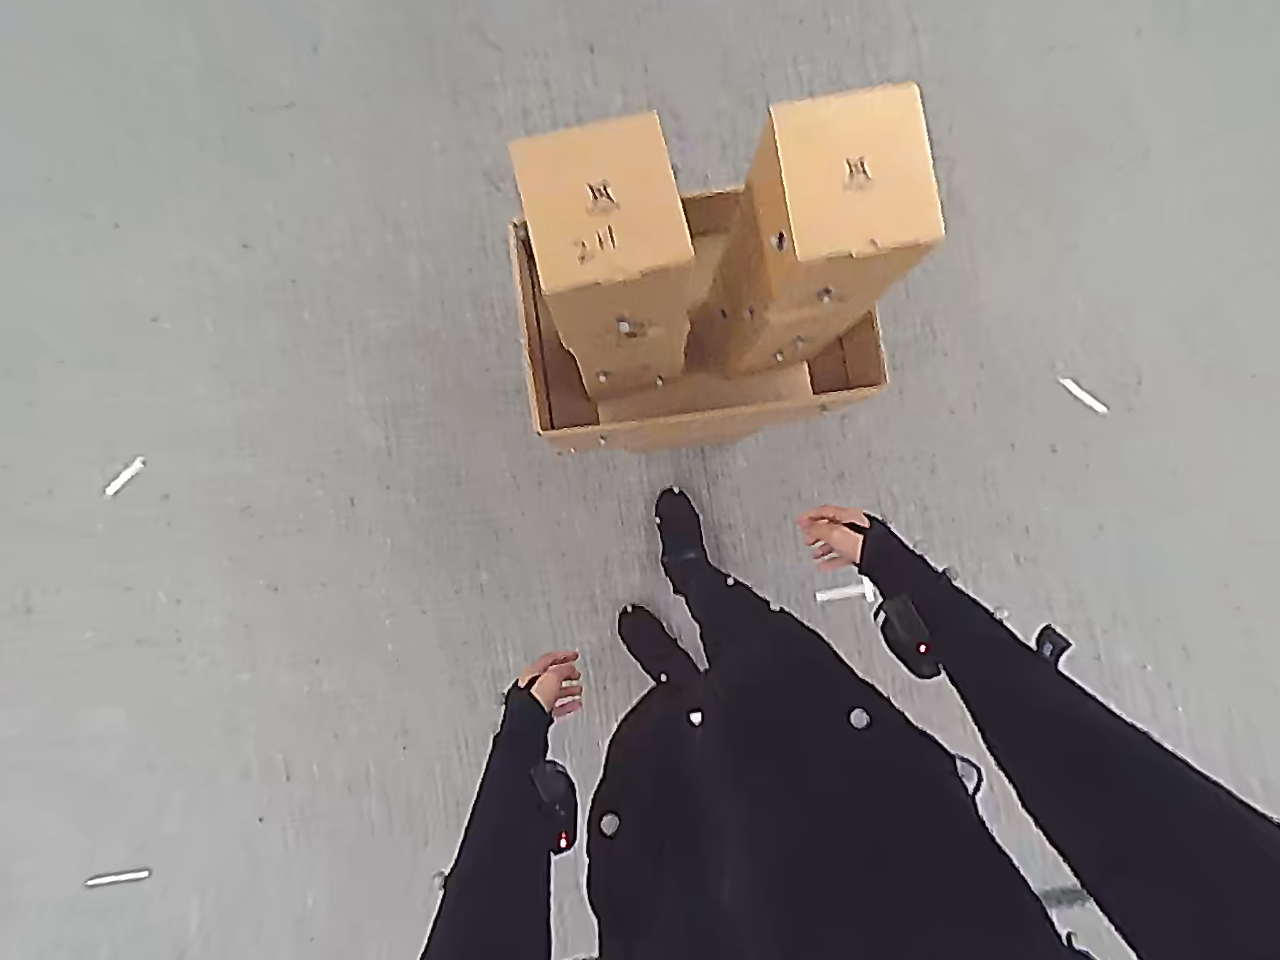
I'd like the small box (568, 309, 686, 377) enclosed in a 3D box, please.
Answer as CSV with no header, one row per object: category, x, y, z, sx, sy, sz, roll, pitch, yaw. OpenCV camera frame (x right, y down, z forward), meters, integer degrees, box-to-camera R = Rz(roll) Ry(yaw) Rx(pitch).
small box,-0.031,-0.264,0.815,0.168,0.176,0.179,-12,85,-2

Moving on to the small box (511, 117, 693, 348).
small box,-0.042,-0.282,0.650,0.168,0.176,0.179,-14,85,-1

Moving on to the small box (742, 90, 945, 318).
small box,0.229,-0.319,0.655,0.168,0.176,0.179,-9,88,-1
